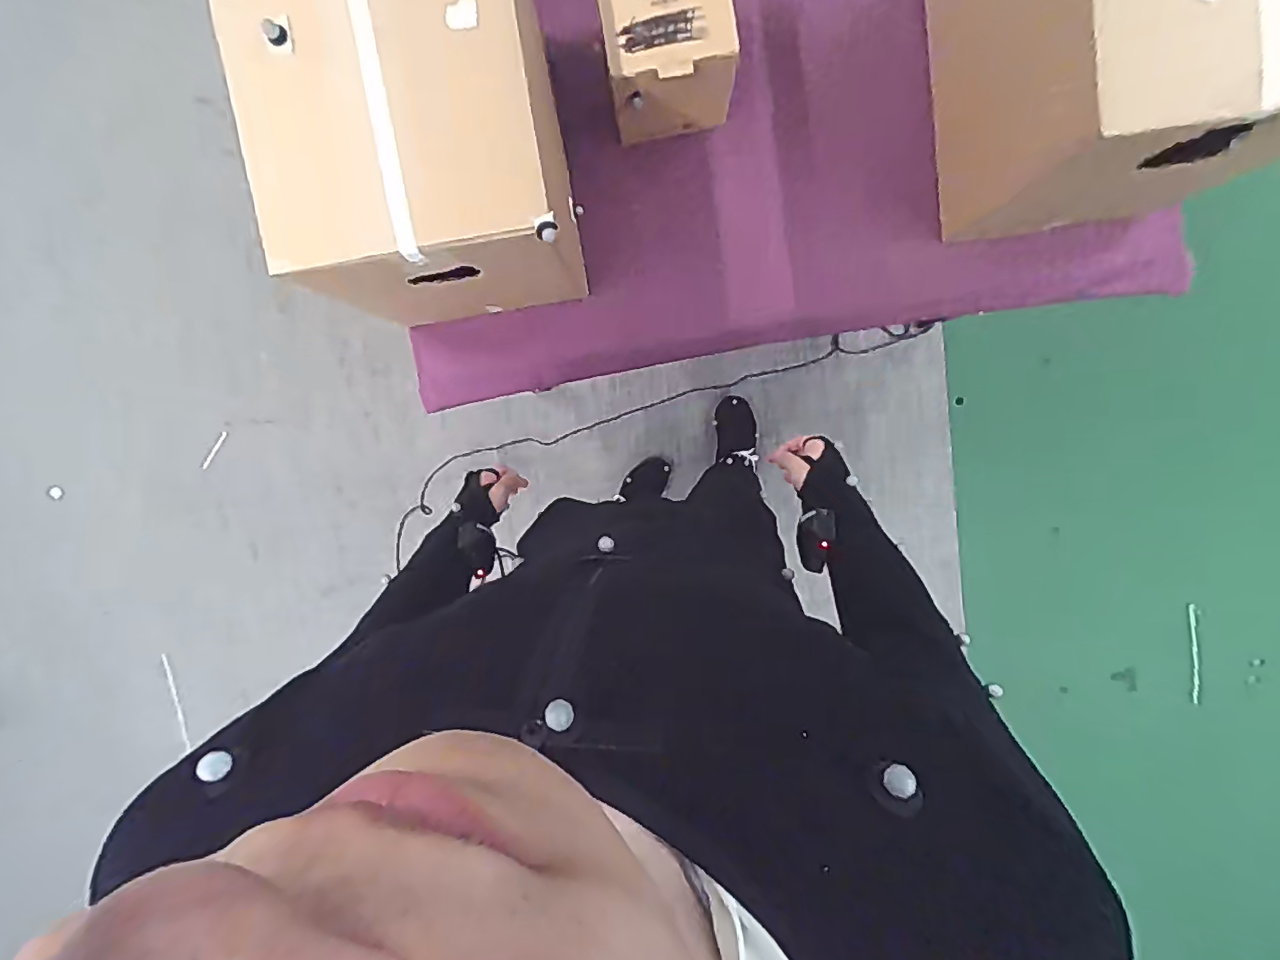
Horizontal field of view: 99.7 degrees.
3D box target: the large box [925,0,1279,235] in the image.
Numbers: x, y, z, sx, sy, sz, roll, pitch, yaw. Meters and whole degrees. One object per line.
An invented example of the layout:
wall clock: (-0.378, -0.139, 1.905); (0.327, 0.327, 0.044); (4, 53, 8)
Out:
large box: (0.589, -0.575, 0.661); (0.320, 0.320, 0.408); (-8, 96, 4)
